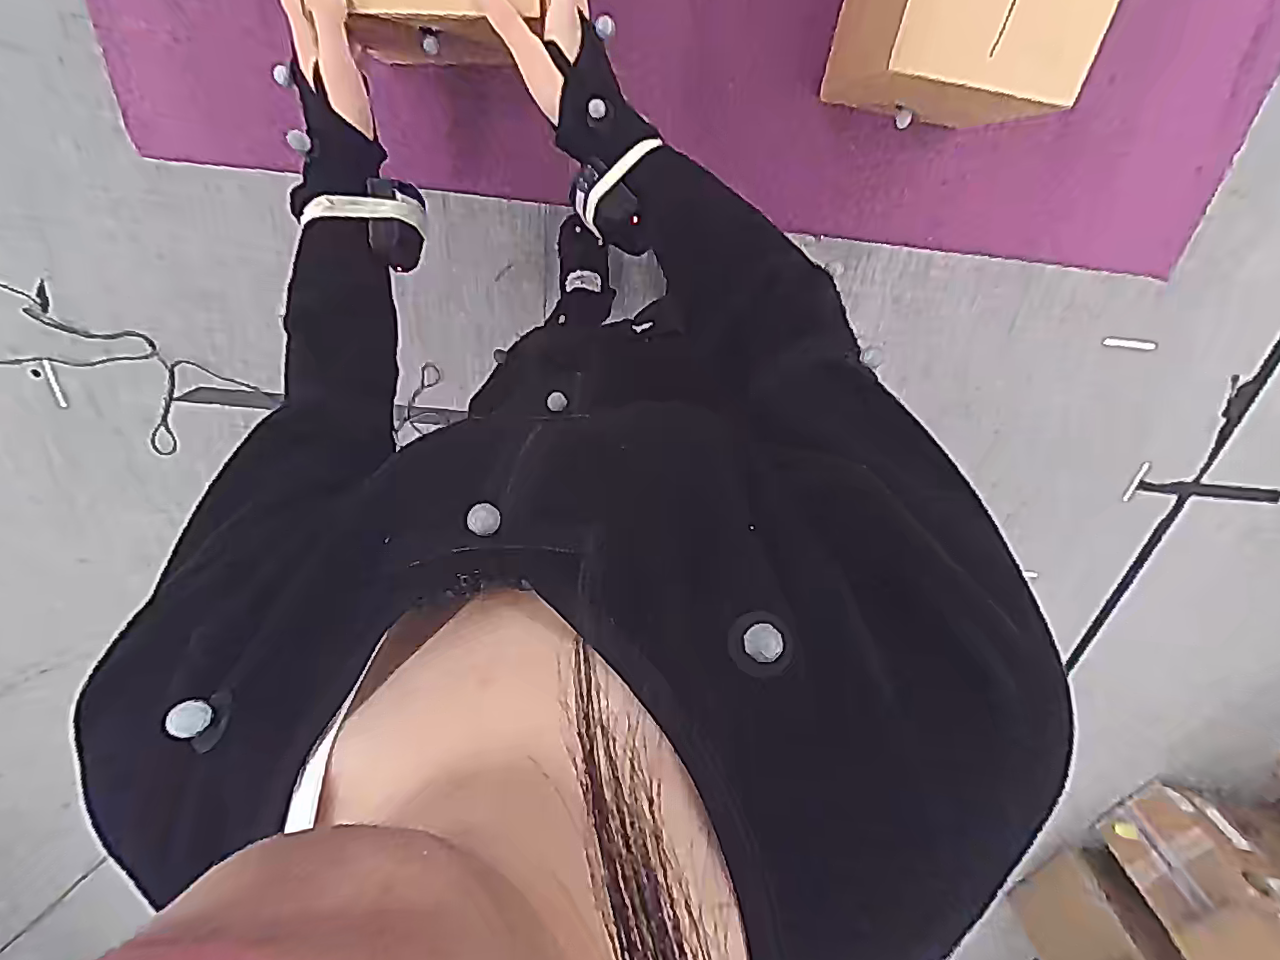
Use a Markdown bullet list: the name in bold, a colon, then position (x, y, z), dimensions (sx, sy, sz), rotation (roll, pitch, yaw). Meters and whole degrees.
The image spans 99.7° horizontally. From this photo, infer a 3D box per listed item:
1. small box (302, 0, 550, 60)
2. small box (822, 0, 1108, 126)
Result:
- **small box**: position (-0.168, -0.460, 0.438), dimensions (0.179, 0.176, 0.168), rotation (-1, 119, -2)
- **small box**: position (0.282, -0.435, 0.474), dimensions (0.168, 0.176, 0.179), rotation (7, 118, -6)
